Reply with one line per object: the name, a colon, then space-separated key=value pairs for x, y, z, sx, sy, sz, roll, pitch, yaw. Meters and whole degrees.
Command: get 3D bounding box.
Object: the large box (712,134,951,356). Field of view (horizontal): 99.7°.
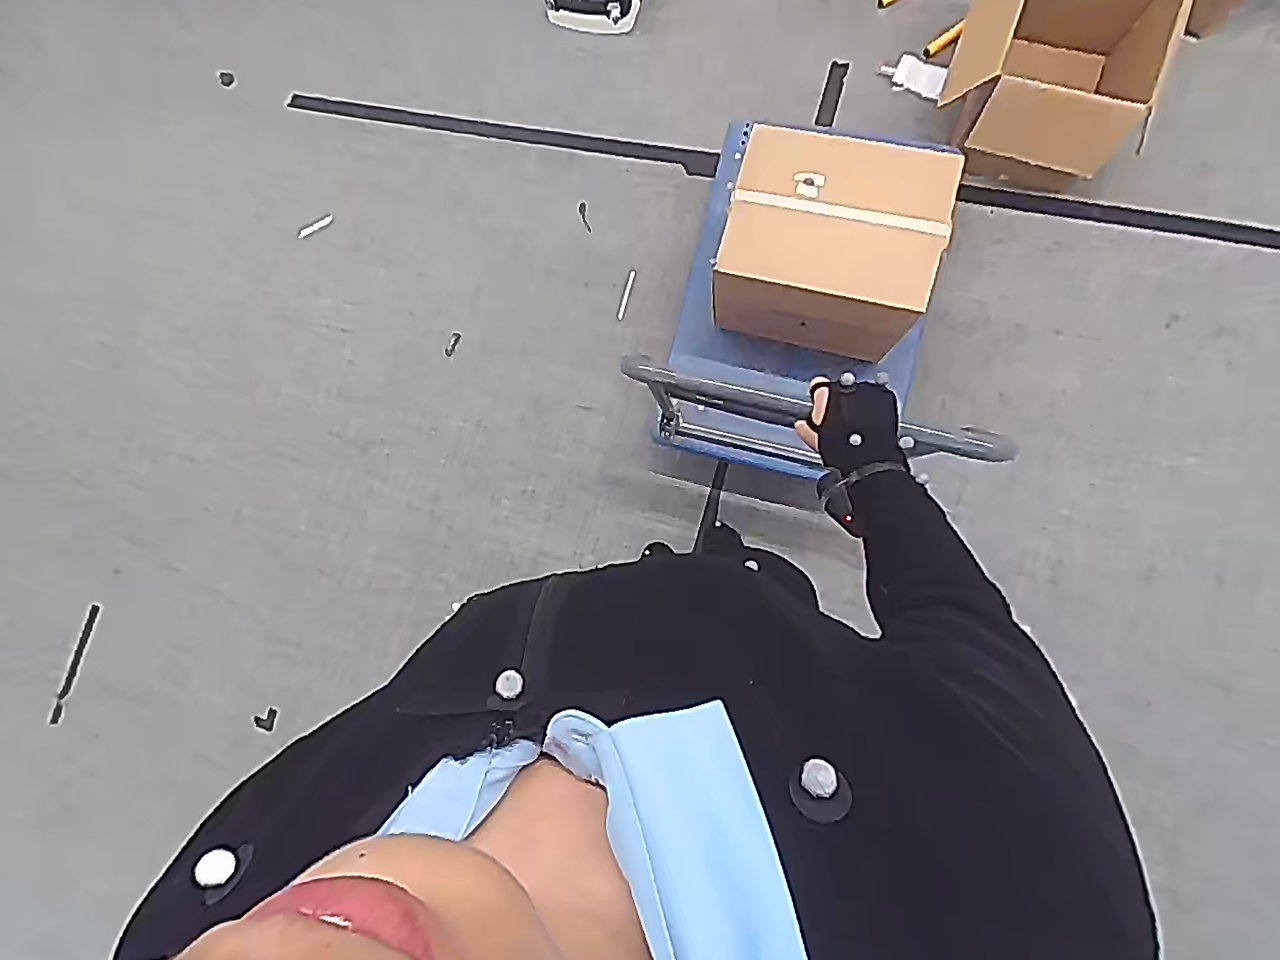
large box: x=0.394 y=-0.499 z=1.200 sx=0.408 sy=0.320 sz=0.320 roll=15 pitch=86 yaw=10
